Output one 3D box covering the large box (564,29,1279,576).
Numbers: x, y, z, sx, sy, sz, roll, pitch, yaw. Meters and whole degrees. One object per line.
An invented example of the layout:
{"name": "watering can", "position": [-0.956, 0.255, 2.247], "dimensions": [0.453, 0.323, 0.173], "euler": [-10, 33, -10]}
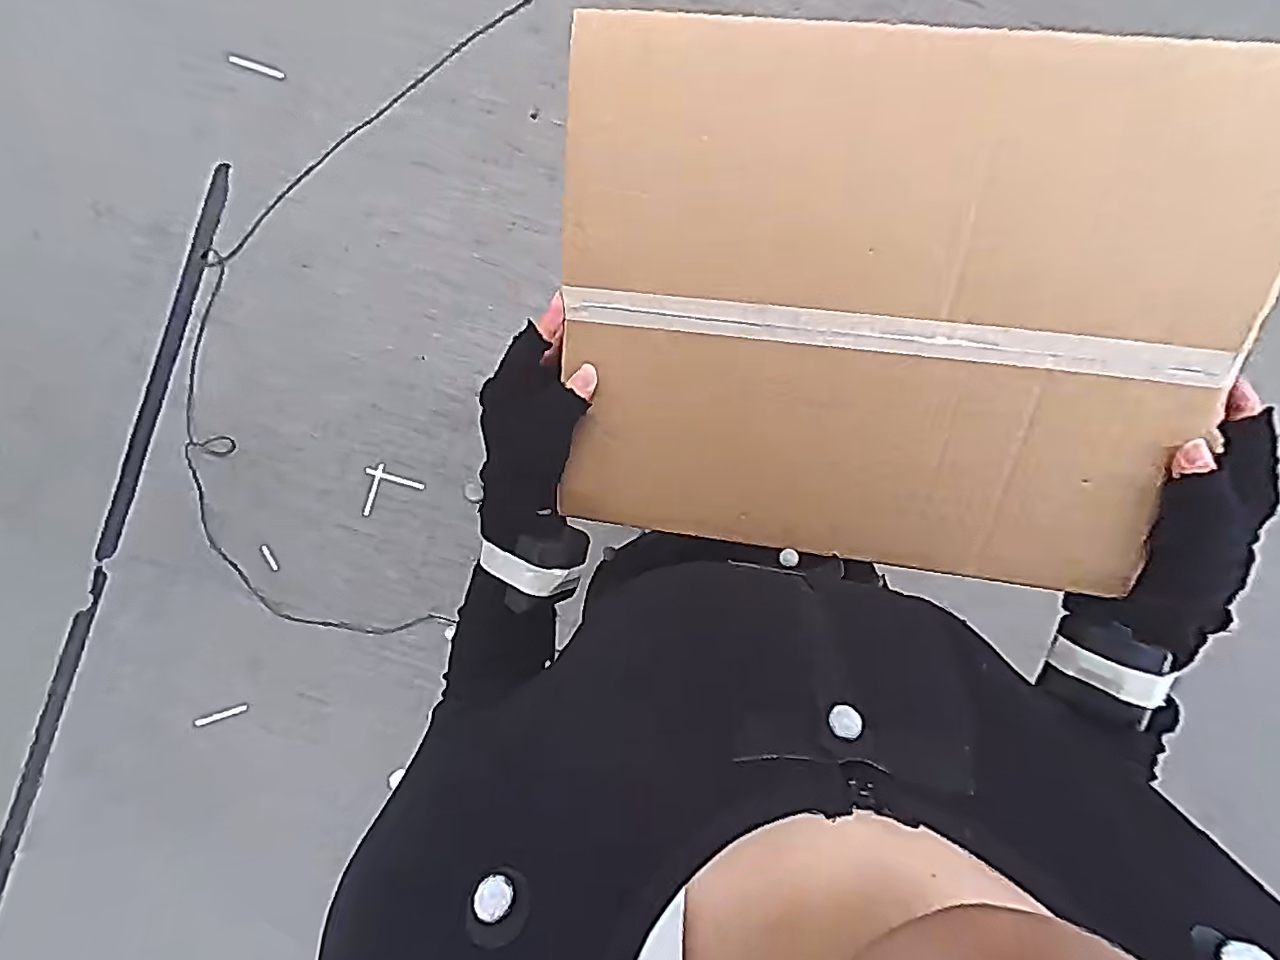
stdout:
{"name": "large box", "position": [0.165, -0.146, 0.486], "dimensions": [0.408, 0.320, 0.320], "euler": [8, 112, 5]}
